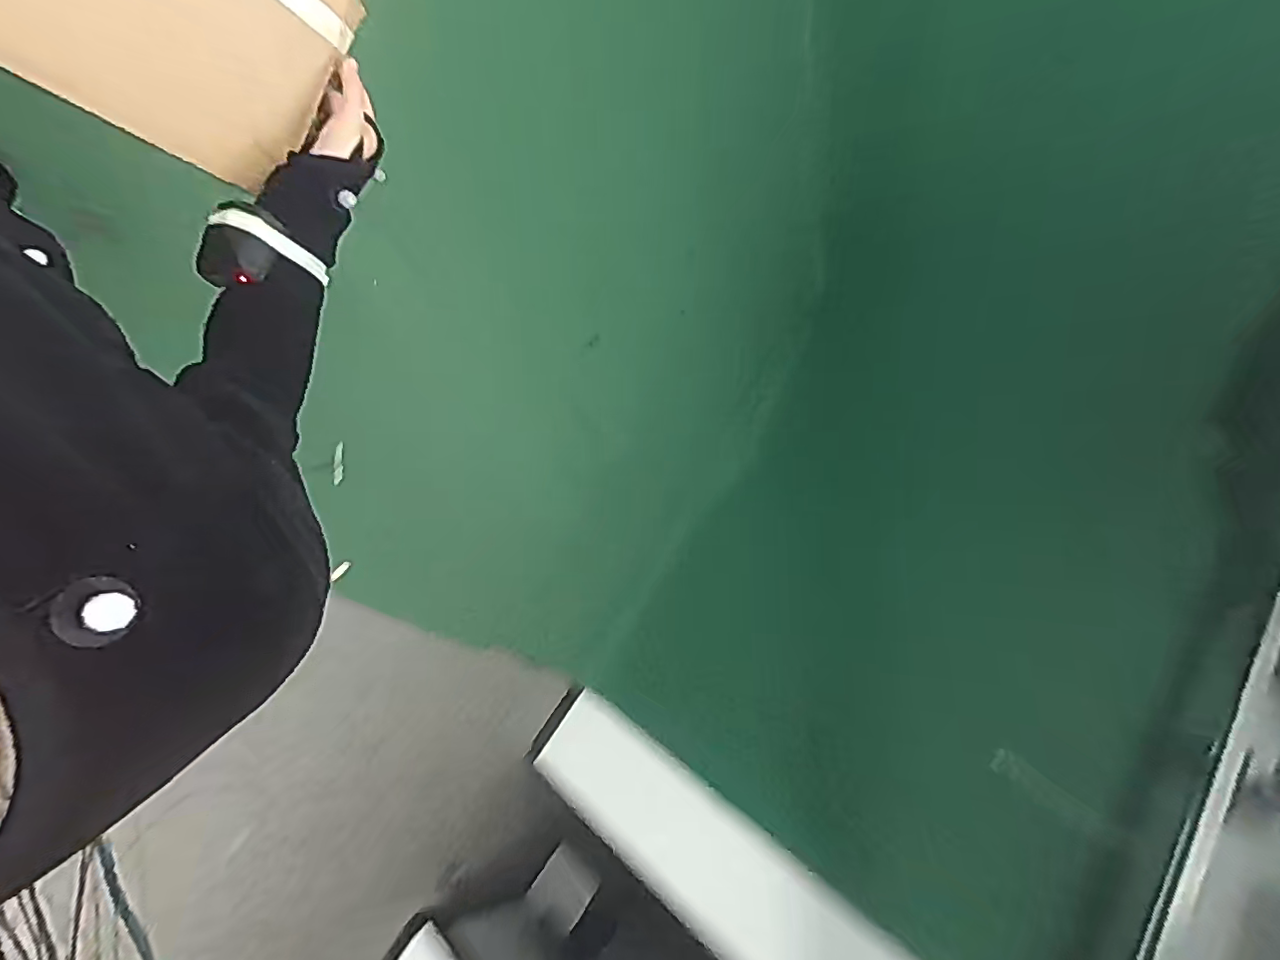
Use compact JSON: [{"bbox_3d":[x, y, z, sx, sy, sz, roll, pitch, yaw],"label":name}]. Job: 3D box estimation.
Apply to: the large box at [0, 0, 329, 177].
[{"bbox_3d":[-0.481,-0.498,0.370,0.408,0.320,0.320,9,113,-60],"label":"large box"}]
